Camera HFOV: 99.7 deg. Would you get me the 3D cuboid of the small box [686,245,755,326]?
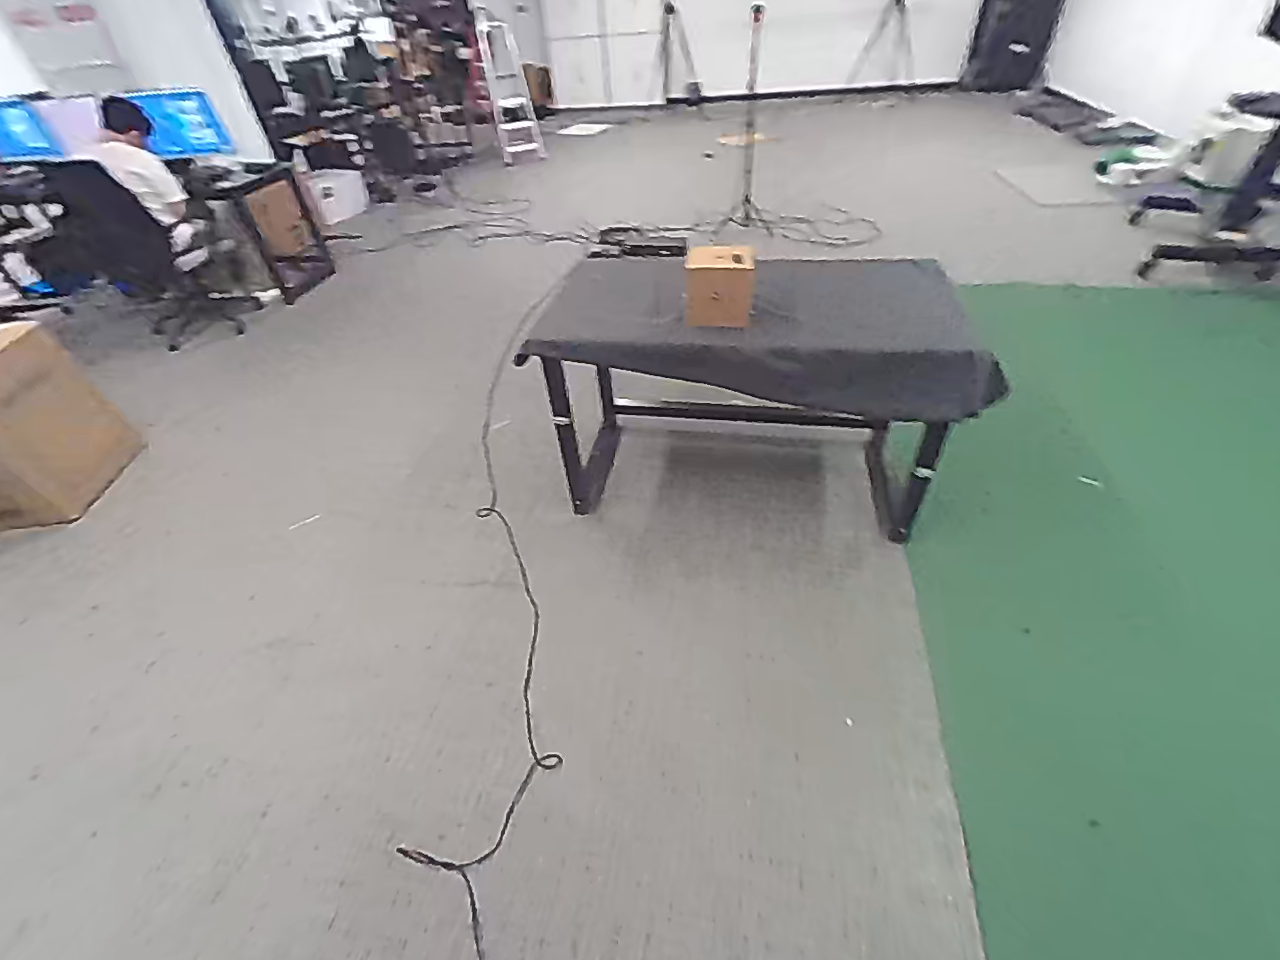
[{"bbox_3d":[0.227,-0.545,1.523,0.179,0.176,0.168,4,42,11],"label":"small box"}]
